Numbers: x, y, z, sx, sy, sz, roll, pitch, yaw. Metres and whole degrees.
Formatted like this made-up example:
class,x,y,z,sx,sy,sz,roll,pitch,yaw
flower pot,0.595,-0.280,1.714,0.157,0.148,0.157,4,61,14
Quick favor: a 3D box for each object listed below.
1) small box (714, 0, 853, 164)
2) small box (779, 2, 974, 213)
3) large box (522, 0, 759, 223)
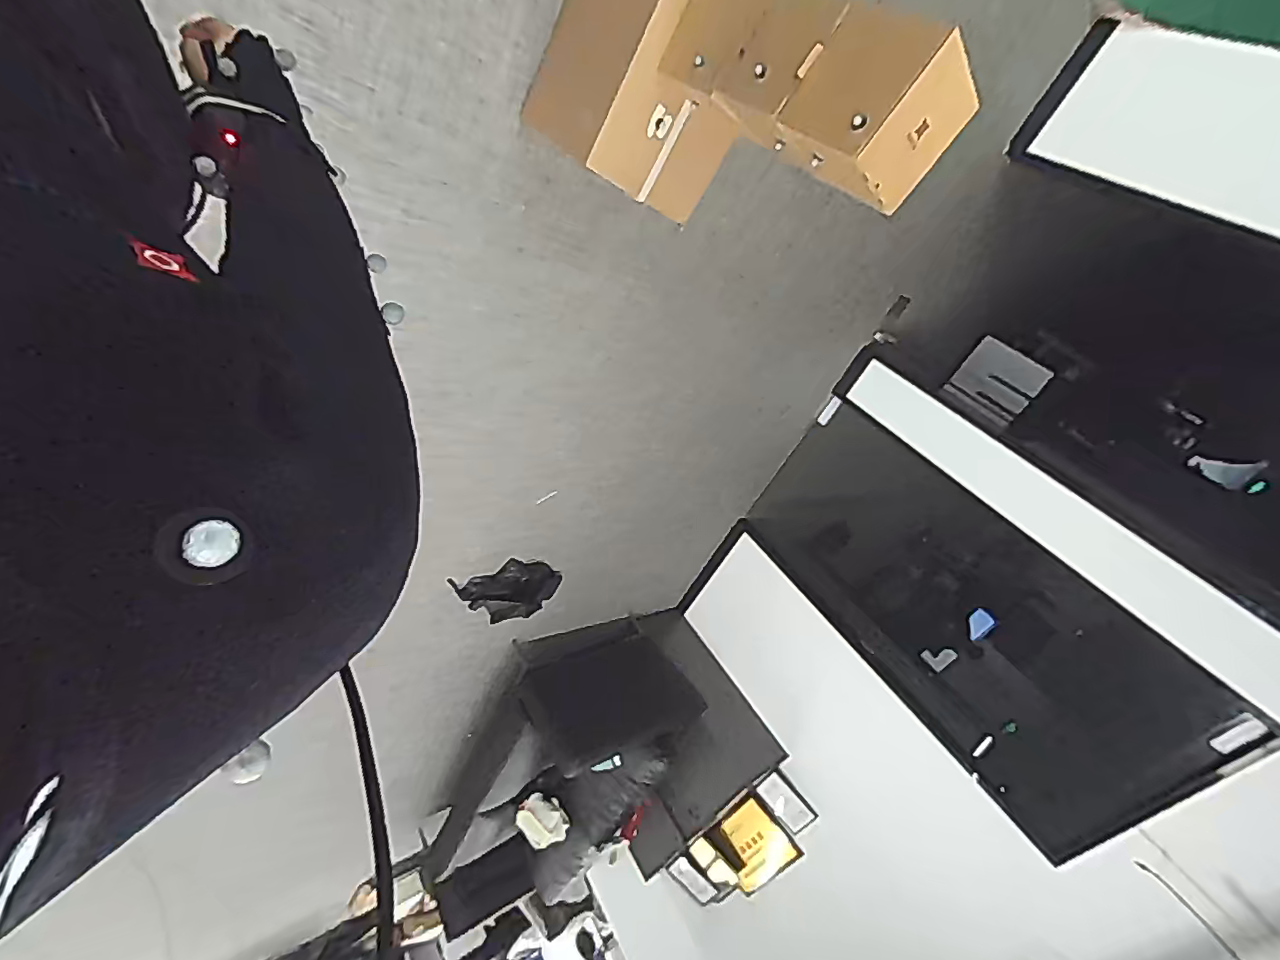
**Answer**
class,x,y,z,sx,sy,sz,roll,pitch,yaw
small box,0.254,-0.648,0.877,0.179,0.176,0.168,6,129,-49
small box,0.341,-0.540,0.792,0.168,0.176,0.179,7,128,-50
large box,0.010,-0.851,1.145,0.320,0.320,0.408,4,129,-46
